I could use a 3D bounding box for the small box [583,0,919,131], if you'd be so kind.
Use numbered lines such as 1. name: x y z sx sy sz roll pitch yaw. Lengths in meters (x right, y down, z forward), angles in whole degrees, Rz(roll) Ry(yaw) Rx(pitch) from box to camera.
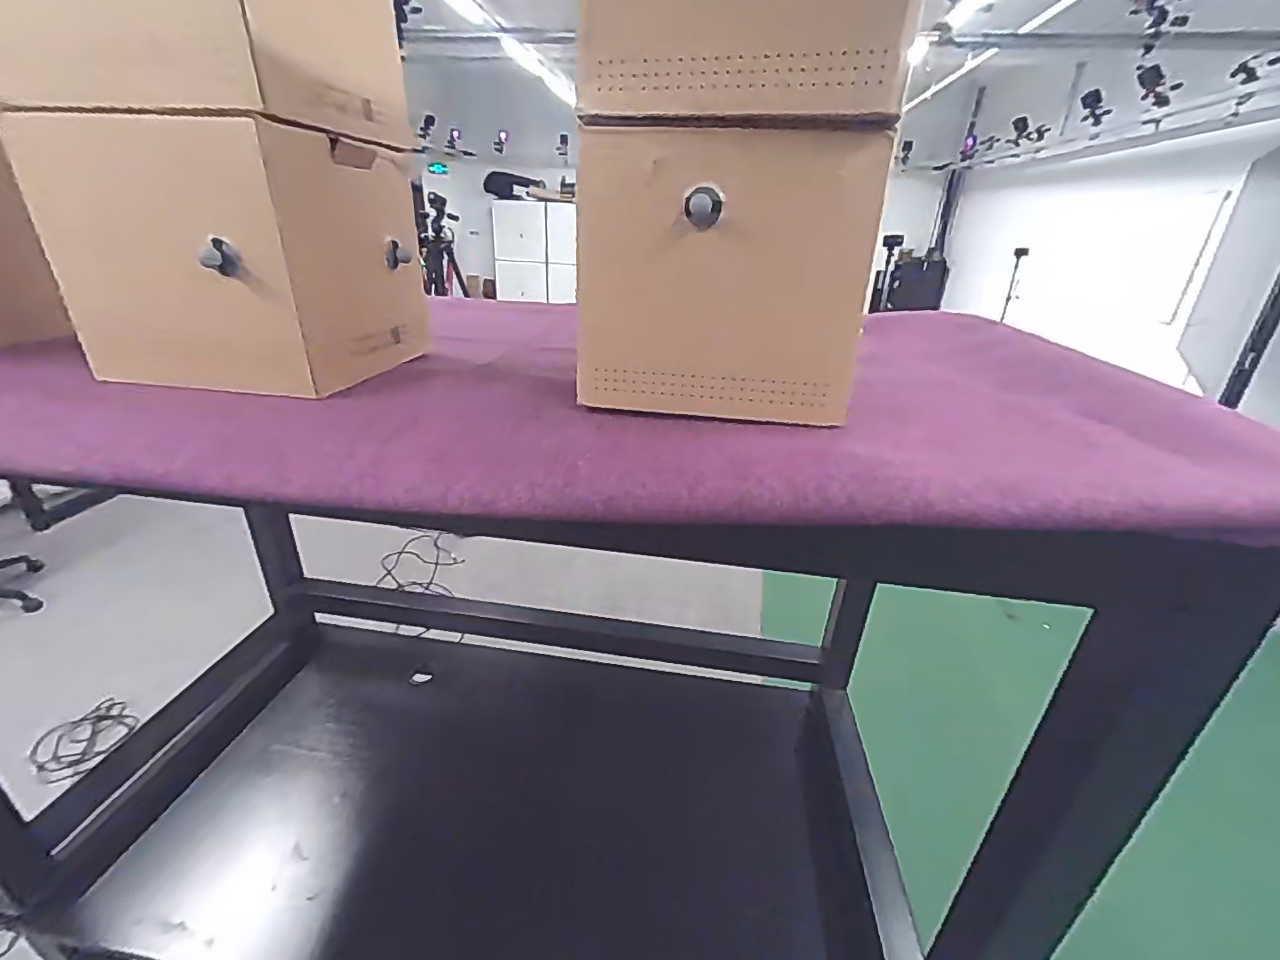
1. small box: 0.068 -0.294 0.329 0.179 0.176 0.168 6 24 11

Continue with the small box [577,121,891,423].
1. small box: 0.059 -0.145 0.398 0.179 0.176 0.168 6 23 8

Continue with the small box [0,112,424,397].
1. small box: -0.289 -0.166 0.416 0.179 0.176 0.168 4 25 6
